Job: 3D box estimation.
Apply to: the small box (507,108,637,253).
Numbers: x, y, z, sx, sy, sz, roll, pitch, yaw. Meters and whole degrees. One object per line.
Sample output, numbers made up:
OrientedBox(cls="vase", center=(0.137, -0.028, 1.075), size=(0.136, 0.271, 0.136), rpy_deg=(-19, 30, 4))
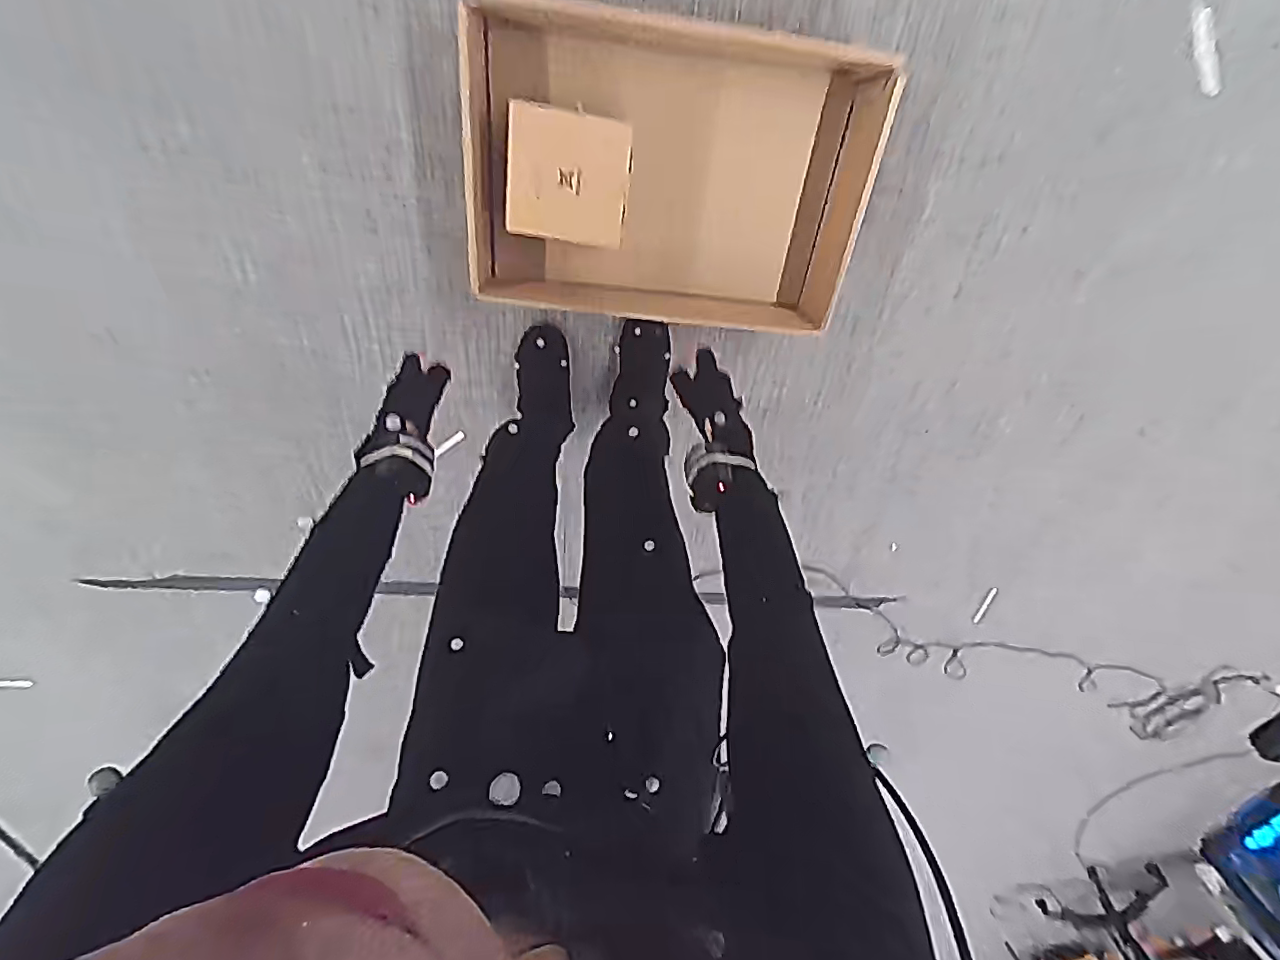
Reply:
OrientedBox(cls="small box", center=(-0.109, -0.474, 0.858), size=(0.179, 0.176, 0.168), rpy_deg=(6, 121, -8))
